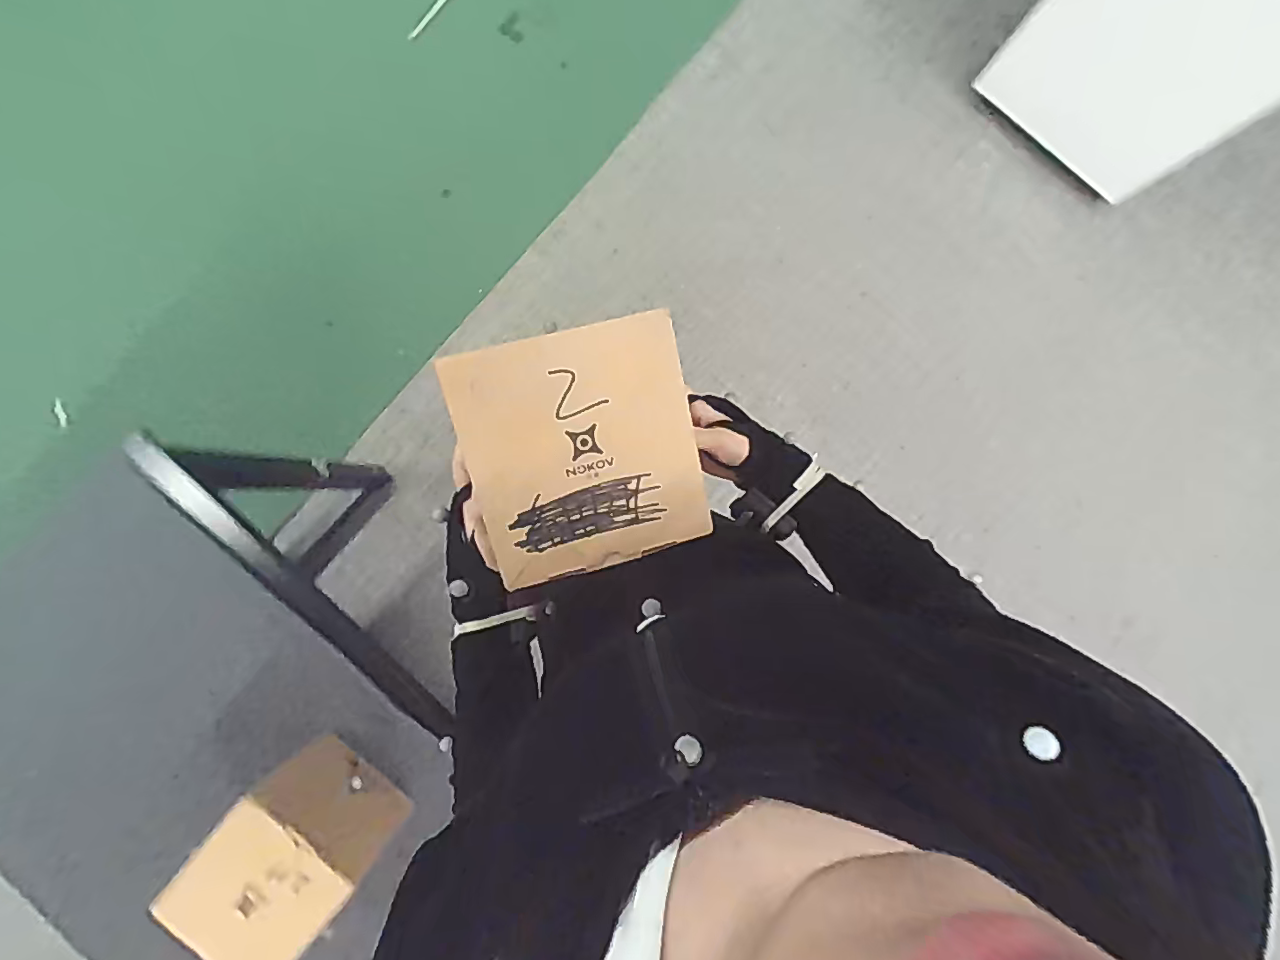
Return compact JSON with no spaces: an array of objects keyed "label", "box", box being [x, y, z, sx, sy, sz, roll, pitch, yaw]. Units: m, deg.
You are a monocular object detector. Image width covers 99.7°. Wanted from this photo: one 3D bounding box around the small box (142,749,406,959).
[{"label":"small box","box":[-0.431,0.483,0.670,0.168,0.176,0.179,39,89,1]}]
